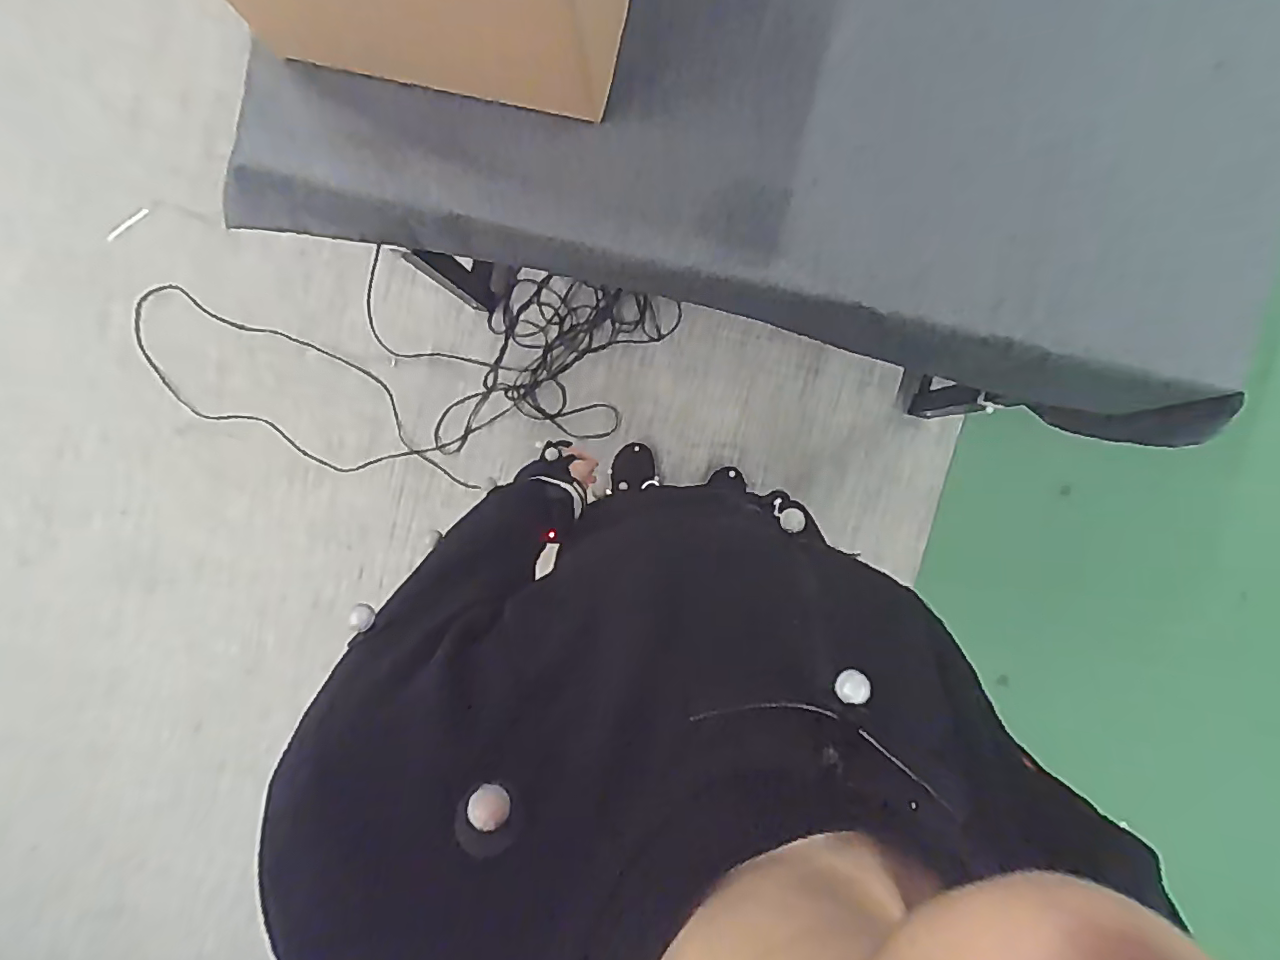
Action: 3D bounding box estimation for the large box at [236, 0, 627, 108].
[{"bbox_3d":[-0.207,-0.606,0.476,0.408,0.320,0.320,12,94,1],"label":"large box"}]
